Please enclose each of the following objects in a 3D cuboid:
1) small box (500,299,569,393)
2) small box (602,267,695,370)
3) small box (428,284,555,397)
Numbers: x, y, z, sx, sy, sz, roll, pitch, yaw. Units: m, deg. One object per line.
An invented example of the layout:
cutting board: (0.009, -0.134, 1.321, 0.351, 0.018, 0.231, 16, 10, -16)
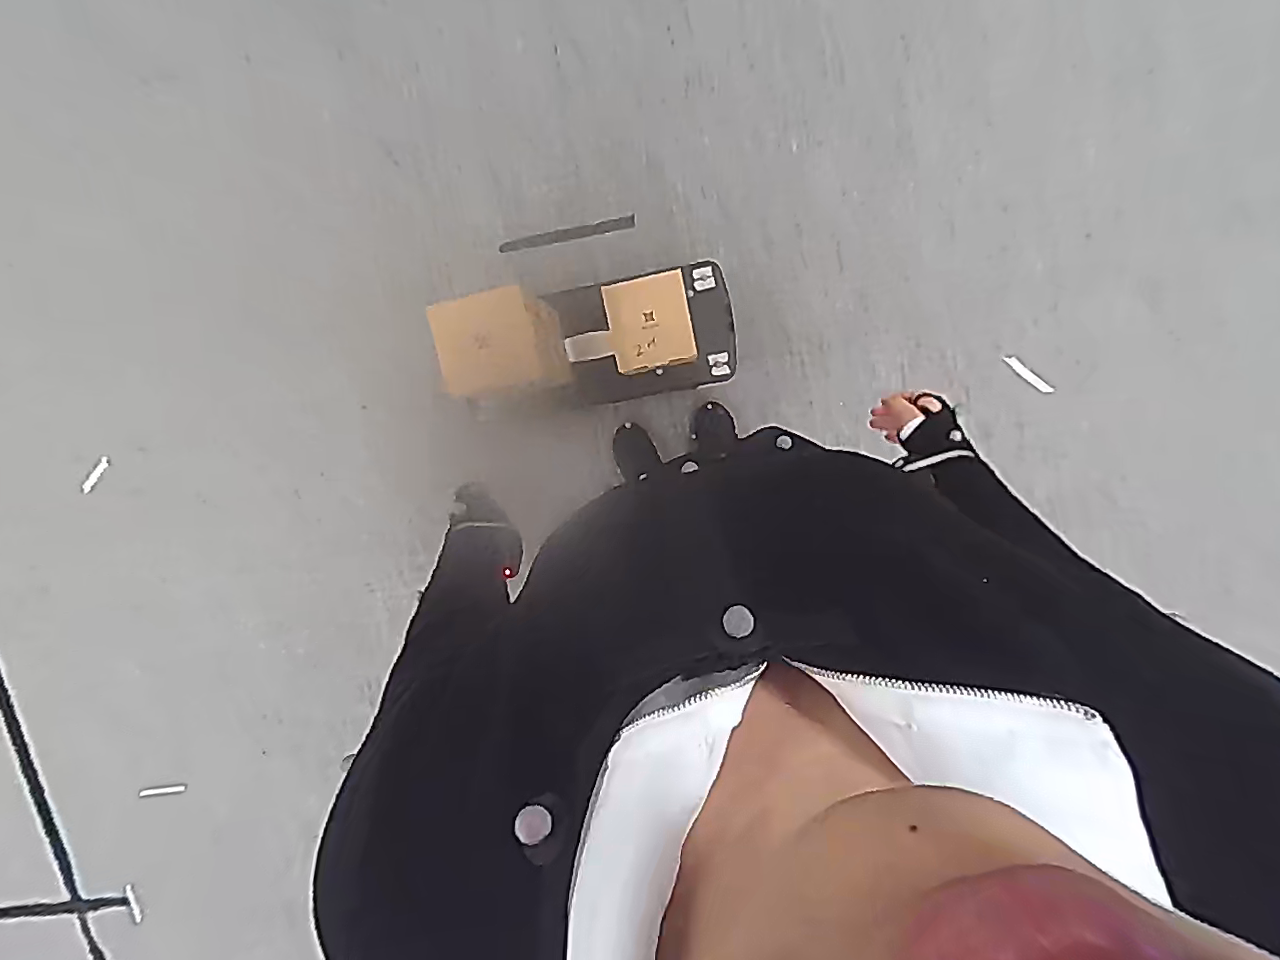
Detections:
small box: (-0.263, -0.286, 1.197, 0.179, 0.176, 0.168, -12, 99, 5)
small box: (0.022, -0.341, 1.175, 0.168, 0.176, 0.179, -11, 98, 6)
small box: (-0.270, -0.259, 1.035, 0.179, 0.176, 0.168, -13, 97, 4)
